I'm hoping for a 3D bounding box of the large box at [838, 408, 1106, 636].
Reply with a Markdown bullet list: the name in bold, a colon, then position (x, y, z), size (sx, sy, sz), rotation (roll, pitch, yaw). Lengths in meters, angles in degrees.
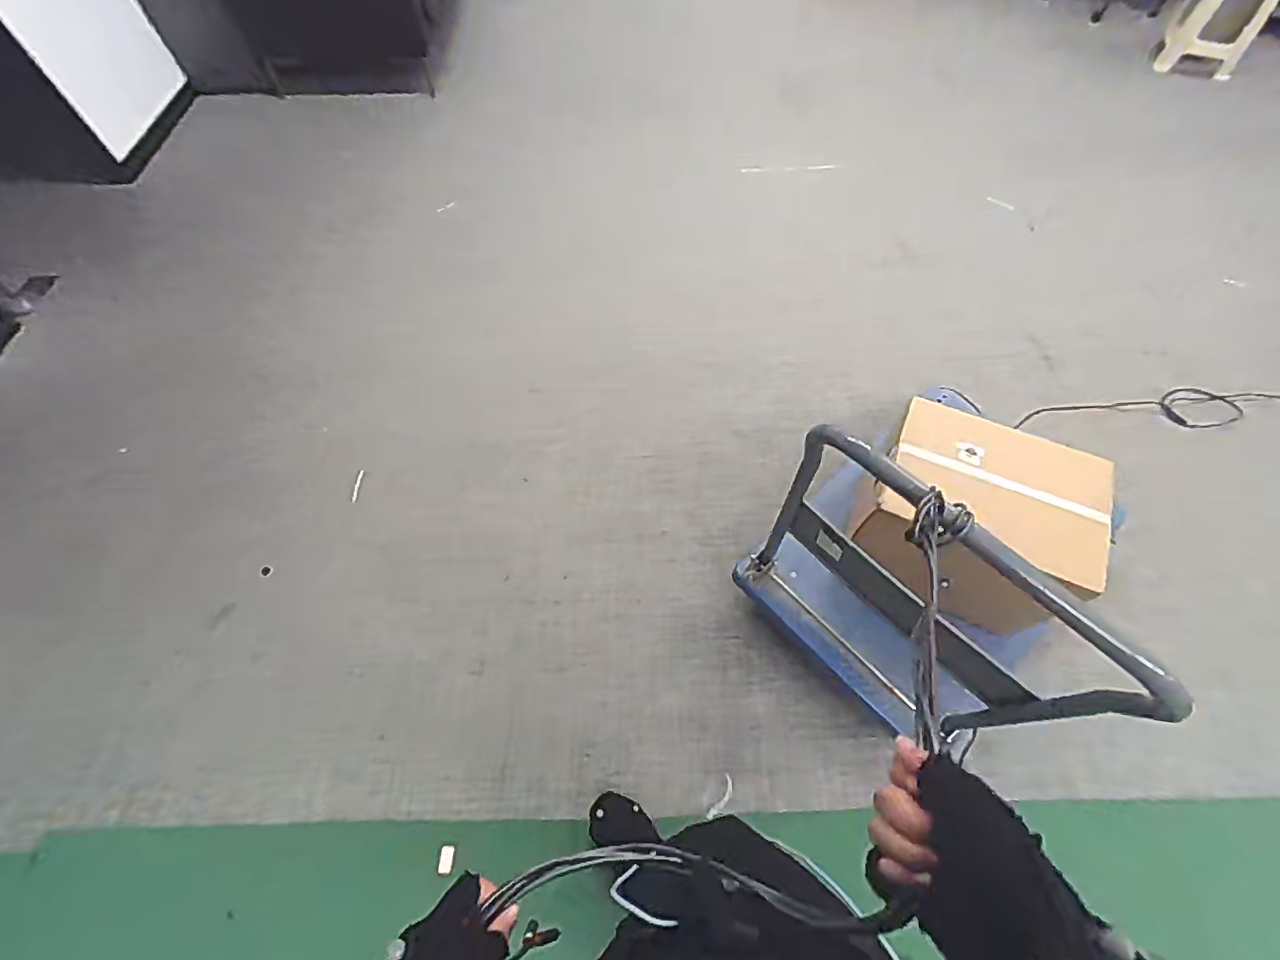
- **large box**: position (0.721, 0.101, 1.218), size (0.408, 0.320, 0.320), rotation (22, 62, 15)
